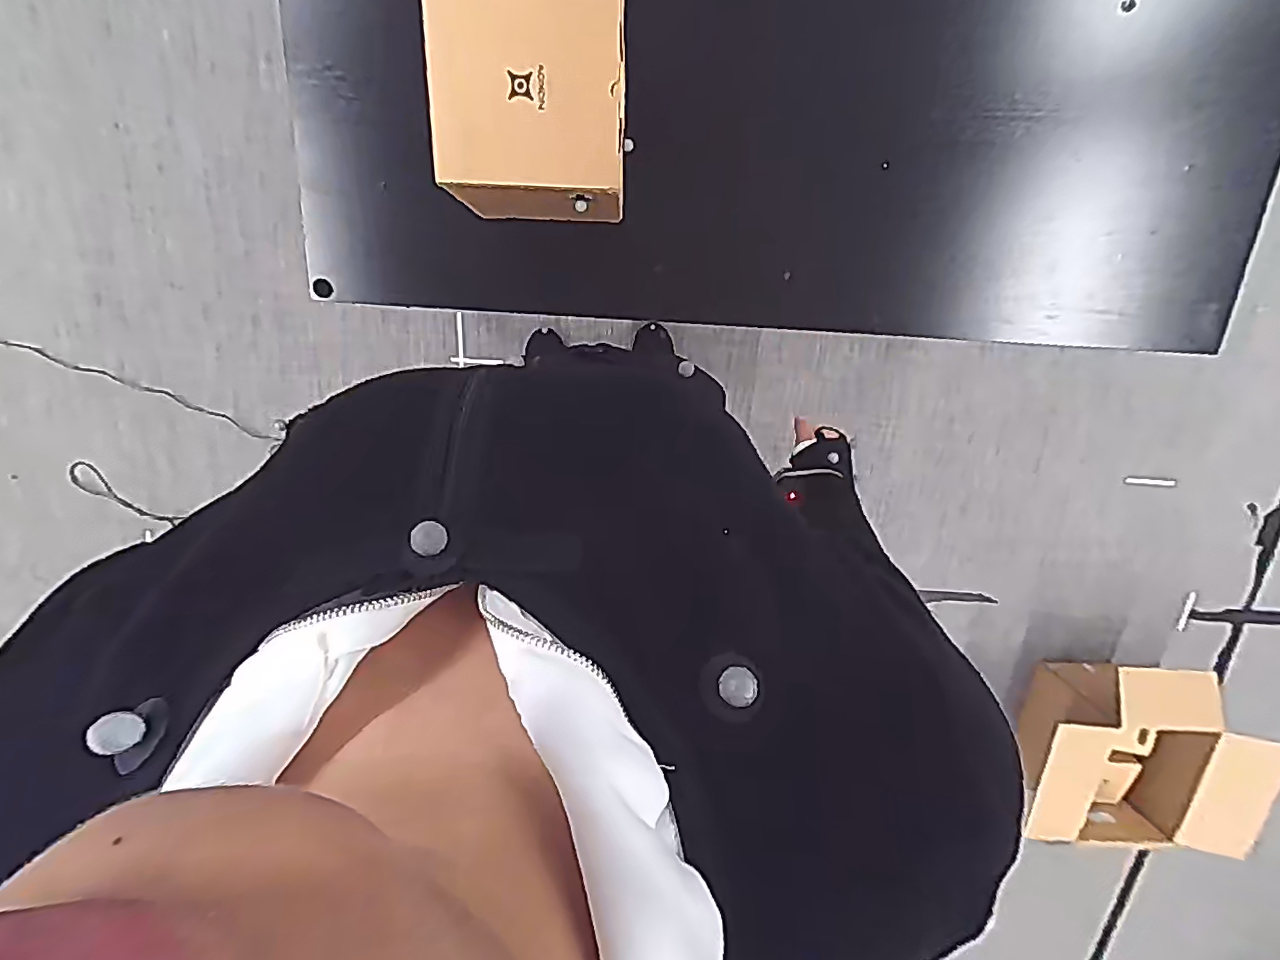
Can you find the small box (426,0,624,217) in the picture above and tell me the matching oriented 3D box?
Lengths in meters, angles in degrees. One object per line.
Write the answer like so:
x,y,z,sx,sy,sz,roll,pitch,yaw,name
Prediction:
-0.107,-0.383,0.570,0.179,0.176,0.168,0,106,-3,small box
